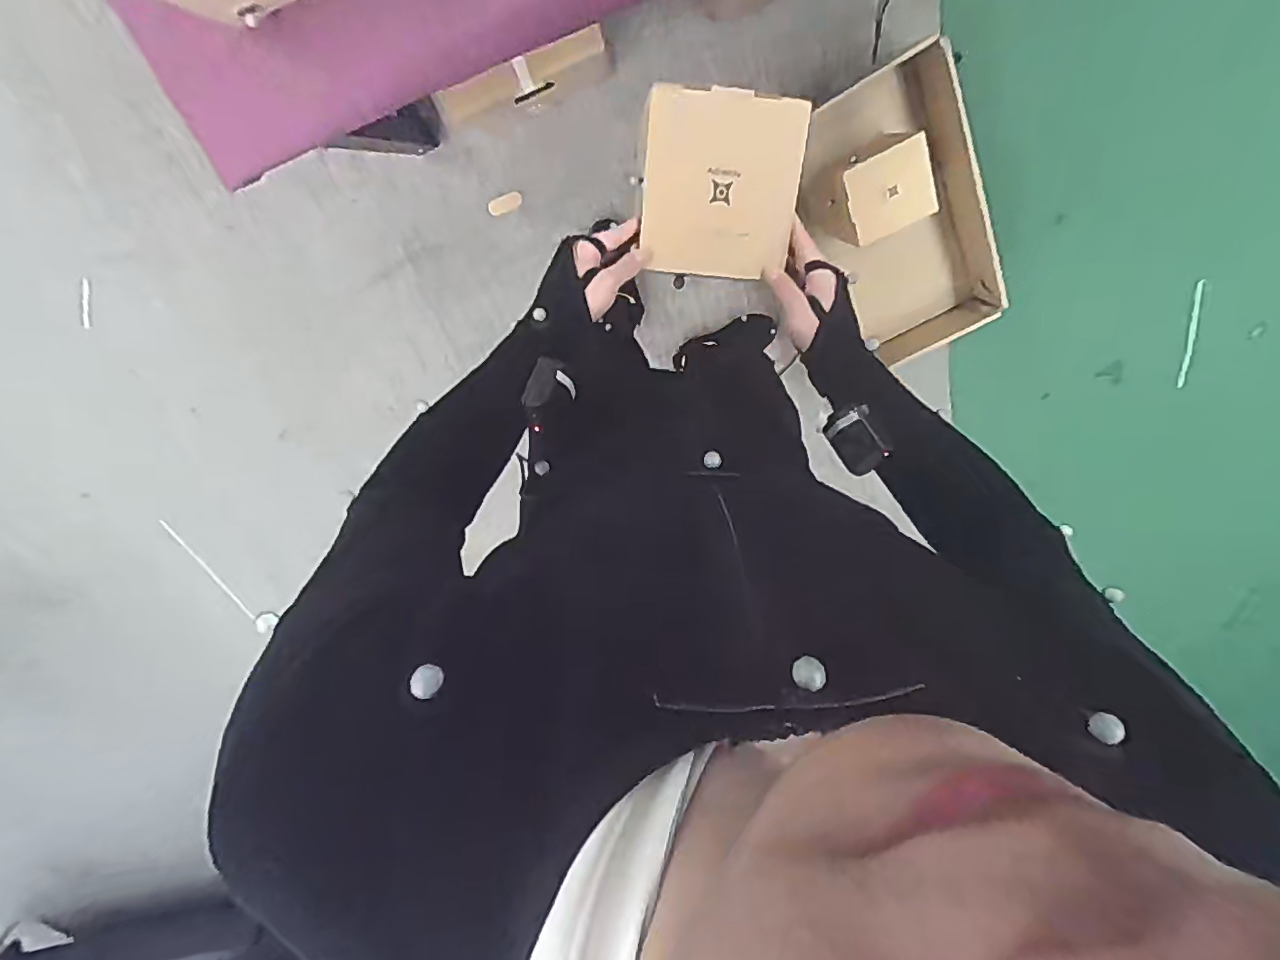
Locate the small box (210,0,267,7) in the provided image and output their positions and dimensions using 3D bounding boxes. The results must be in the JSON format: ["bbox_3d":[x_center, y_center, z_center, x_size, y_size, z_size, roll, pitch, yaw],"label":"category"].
[{"bbox_3d":[-0.391,-0.562,0.475,0.168,0.176,0.179,-18,117,9],"label":"small box"}]

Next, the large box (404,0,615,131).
[{"bbox_3d":[-0.266,-0.952,1.018,0.320,0.320,0.408,-19,117,9],"label":"large box"}]

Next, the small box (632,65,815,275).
[{"bbox_3d":[0.081,-0.341,0.630,0.168,0.176,0.179,4,111,-5],"label":"small box"}]
